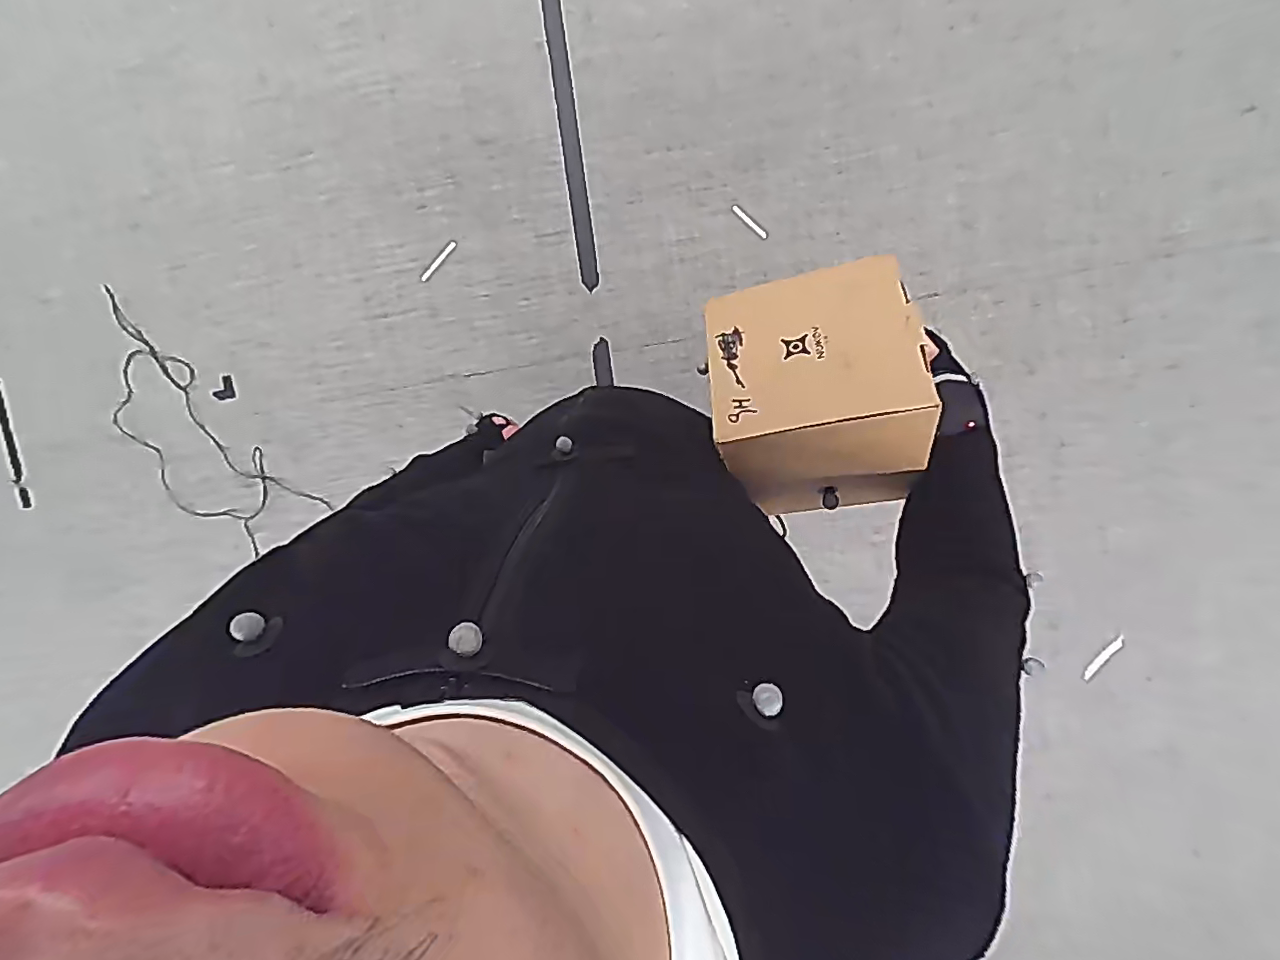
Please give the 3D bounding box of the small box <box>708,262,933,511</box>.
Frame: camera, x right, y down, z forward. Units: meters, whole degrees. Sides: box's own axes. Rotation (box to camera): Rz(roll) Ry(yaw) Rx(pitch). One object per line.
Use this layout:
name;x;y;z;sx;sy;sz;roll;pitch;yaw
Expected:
small box;0.174;-0.081;0.550;0.179;0.176;0.168;-9;60;17
